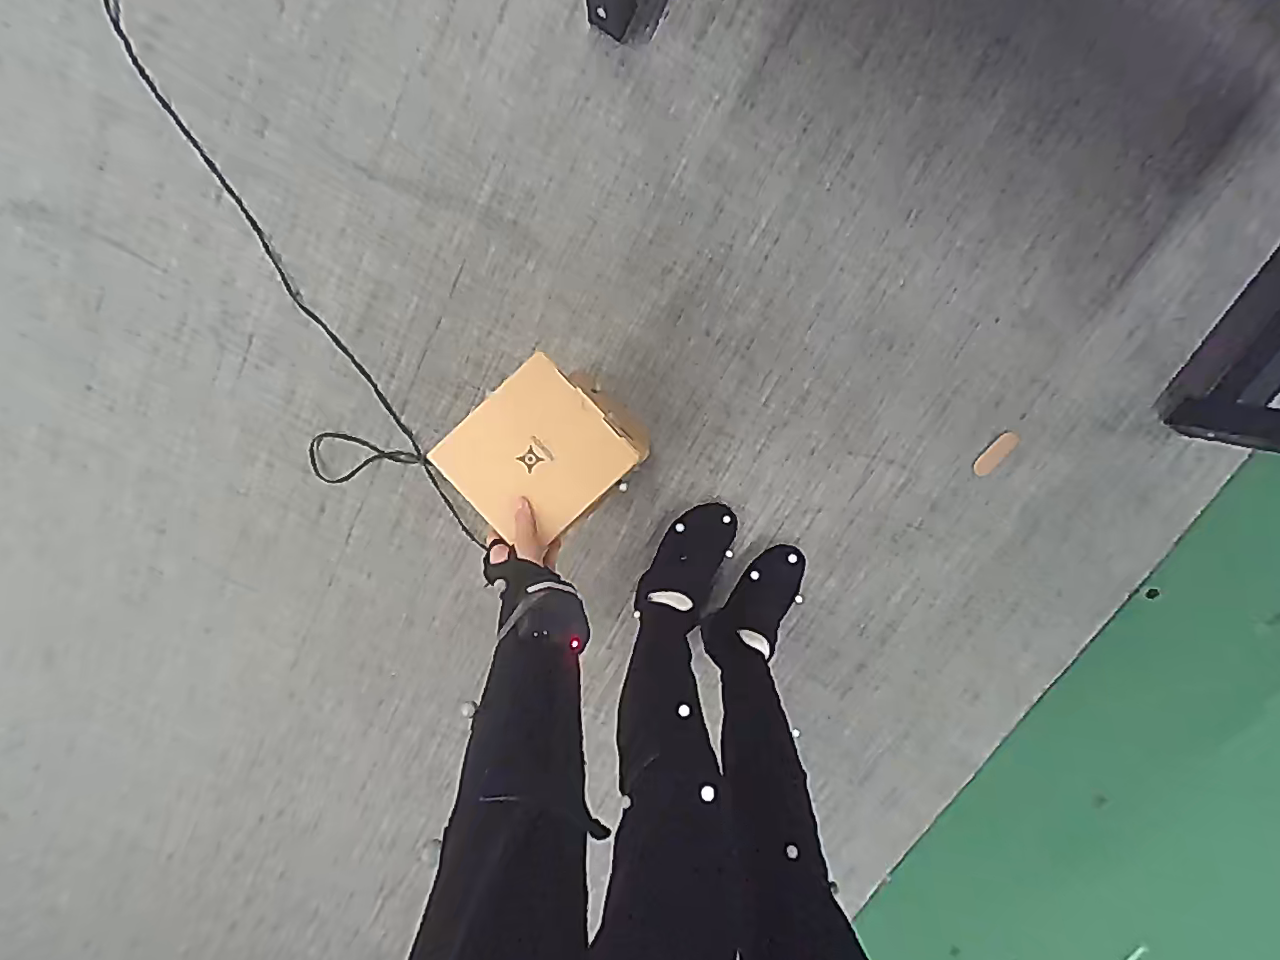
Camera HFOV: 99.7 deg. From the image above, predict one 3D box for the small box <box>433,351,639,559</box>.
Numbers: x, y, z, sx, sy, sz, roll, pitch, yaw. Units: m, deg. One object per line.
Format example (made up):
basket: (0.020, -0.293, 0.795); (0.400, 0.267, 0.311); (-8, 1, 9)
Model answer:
small box: (-0.114, -0.028, 0.676); (0.179, 0.176, 0.168); (-43, 92, 0)

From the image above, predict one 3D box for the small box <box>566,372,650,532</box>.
small box: (-0.104, -0.054, 0.859); (0.168, 0.176, 0.179); (43, 101, -10)
